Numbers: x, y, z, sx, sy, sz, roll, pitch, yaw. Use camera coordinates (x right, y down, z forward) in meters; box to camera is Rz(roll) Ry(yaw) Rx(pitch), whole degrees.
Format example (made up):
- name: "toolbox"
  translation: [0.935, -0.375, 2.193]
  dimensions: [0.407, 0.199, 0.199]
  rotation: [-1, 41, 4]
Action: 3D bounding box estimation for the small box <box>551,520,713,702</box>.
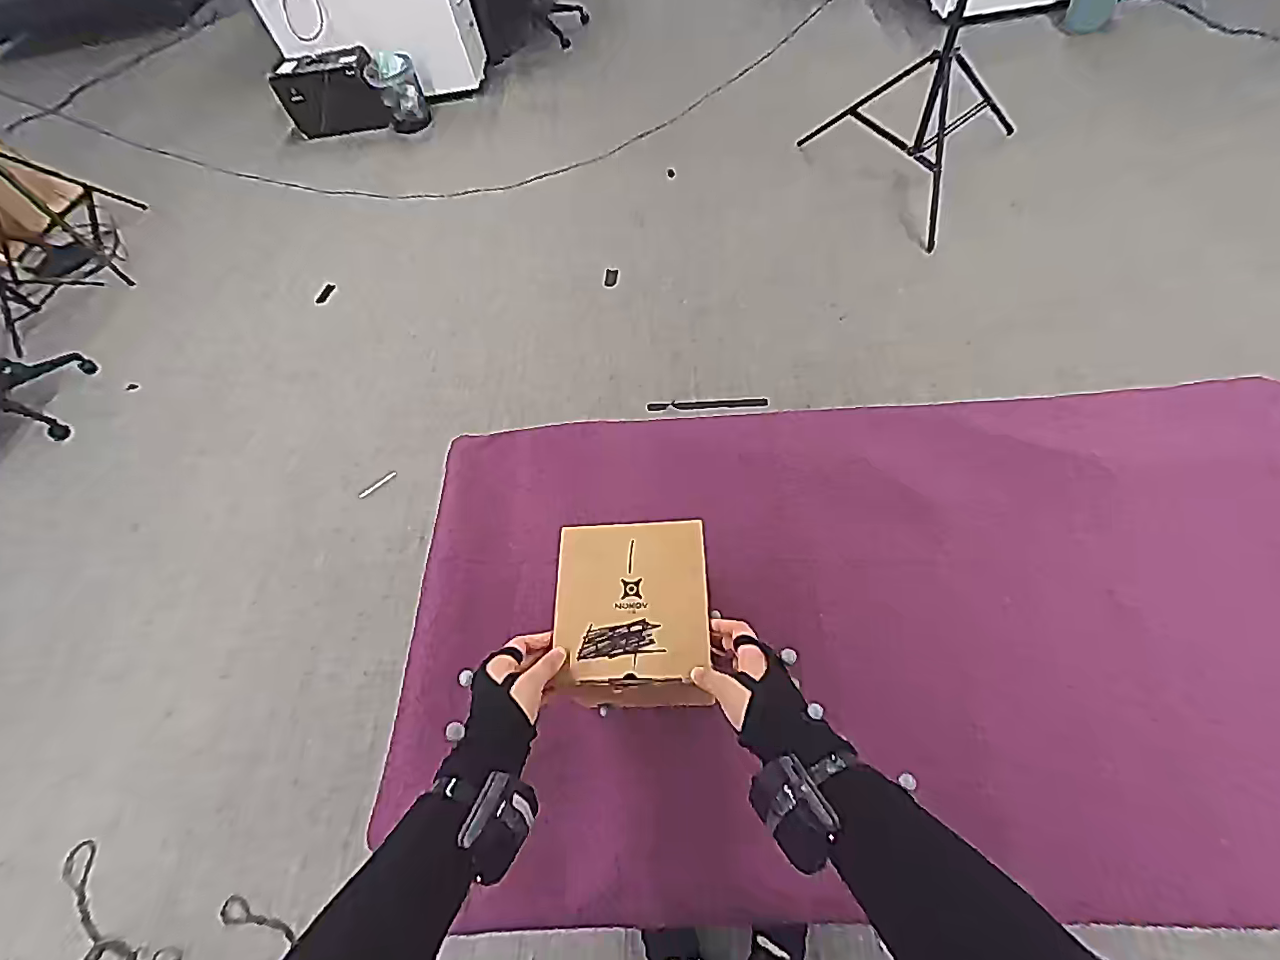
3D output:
- name: "small box"
  translation: [0.000, 0.165, 0.649]
  dimensions: [0.168, 0.176, 0.179]
  rotation: [-4, 59, 6]
